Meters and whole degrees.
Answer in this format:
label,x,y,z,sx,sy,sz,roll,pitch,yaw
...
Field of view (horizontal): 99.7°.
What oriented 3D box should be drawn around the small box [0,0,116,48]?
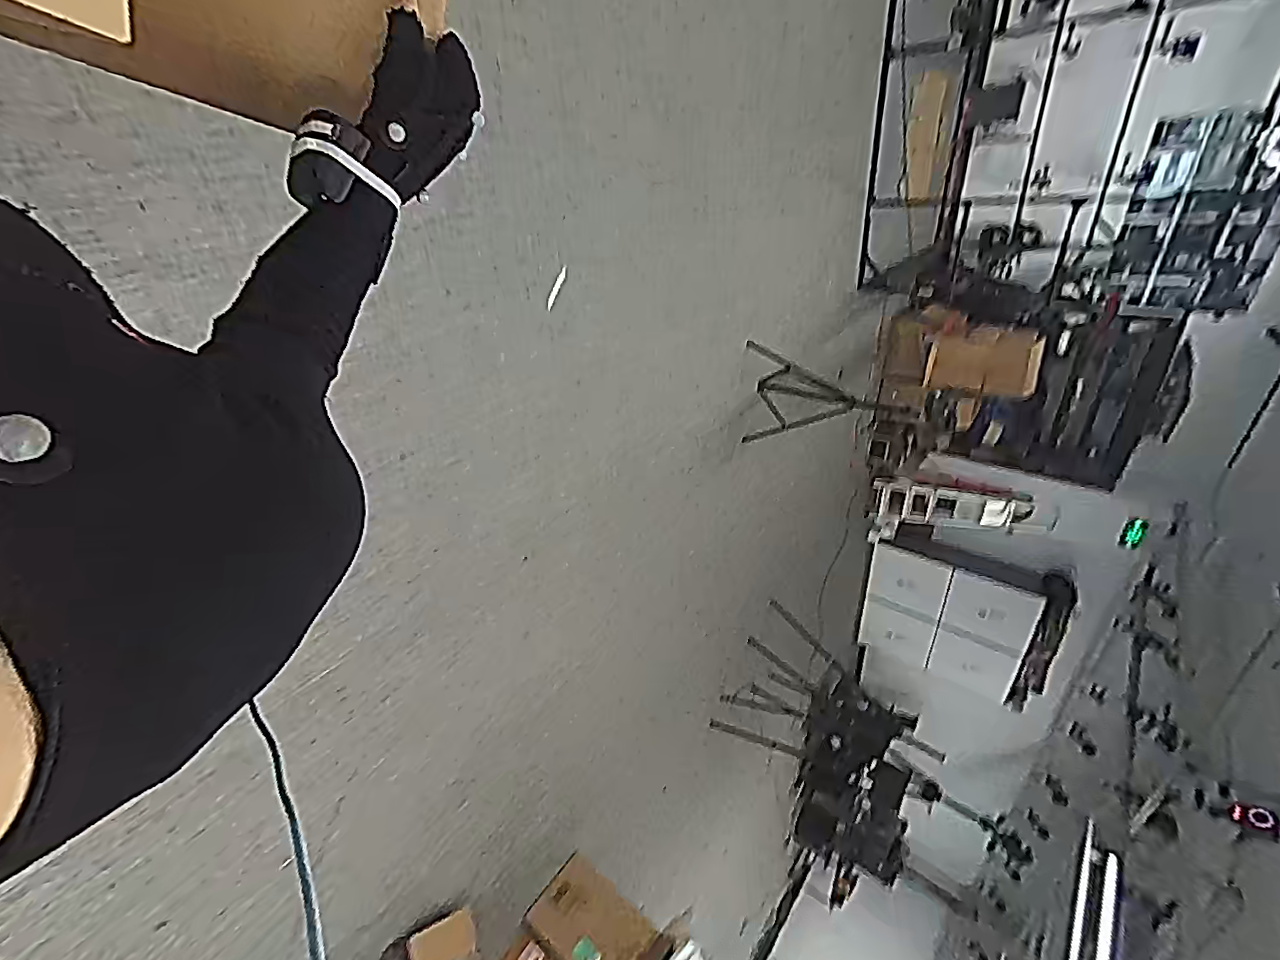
label,x,y,z,sx,sy,sz,roll,pitch,yaw
small box,-0.403,-0.345,0.246,0.179,0.176,0.168,-36,145,-64
